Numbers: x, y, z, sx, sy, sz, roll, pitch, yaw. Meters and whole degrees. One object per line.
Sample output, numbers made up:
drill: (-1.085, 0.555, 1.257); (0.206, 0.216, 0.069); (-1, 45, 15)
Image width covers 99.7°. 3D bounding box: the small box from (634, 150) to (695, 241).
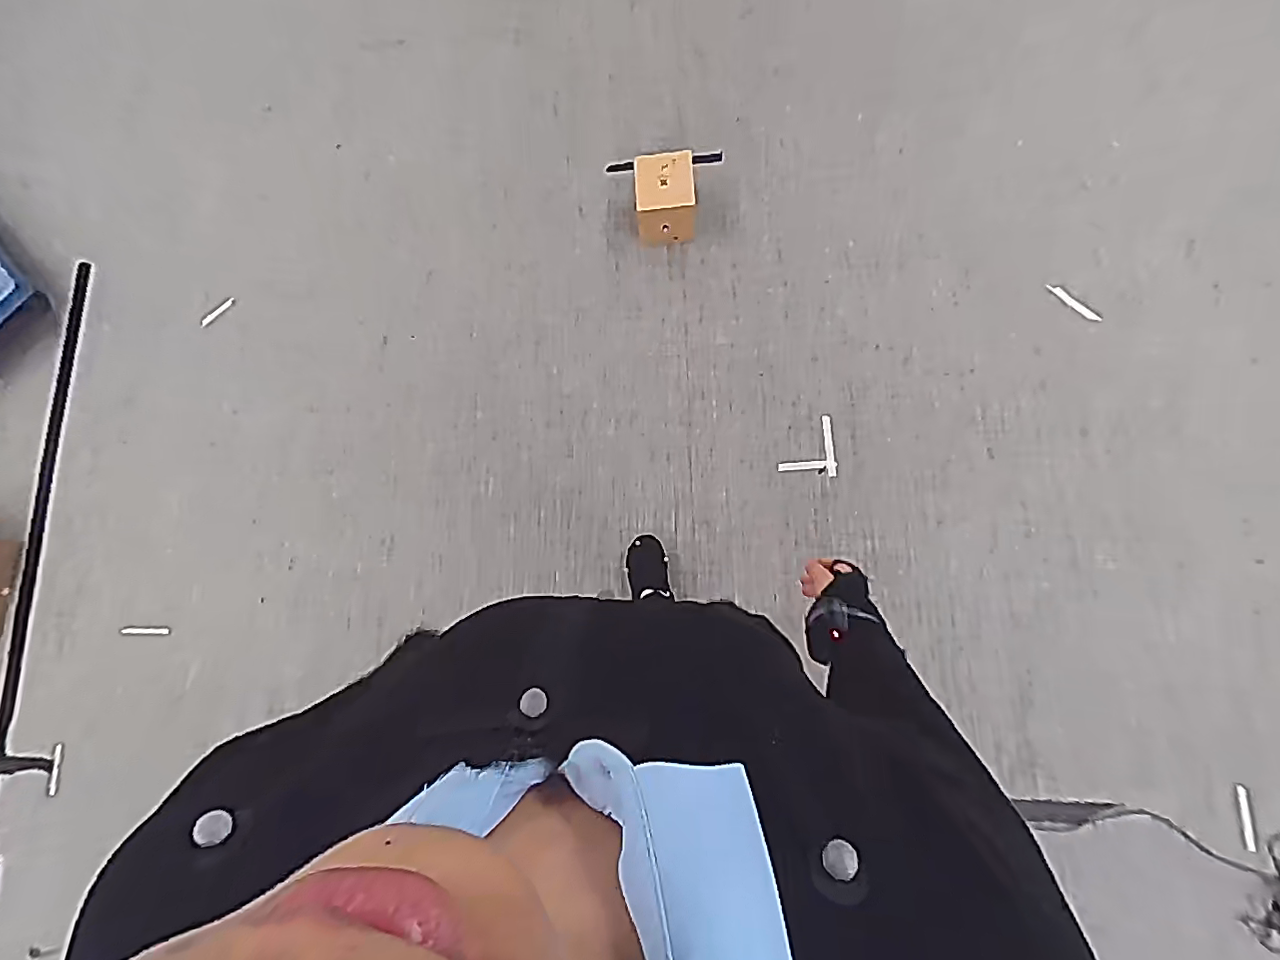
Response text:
small box: (0.074, -0.822, 1.585); (0.168, 0.176, 0.179); (-4, 80, 5)
